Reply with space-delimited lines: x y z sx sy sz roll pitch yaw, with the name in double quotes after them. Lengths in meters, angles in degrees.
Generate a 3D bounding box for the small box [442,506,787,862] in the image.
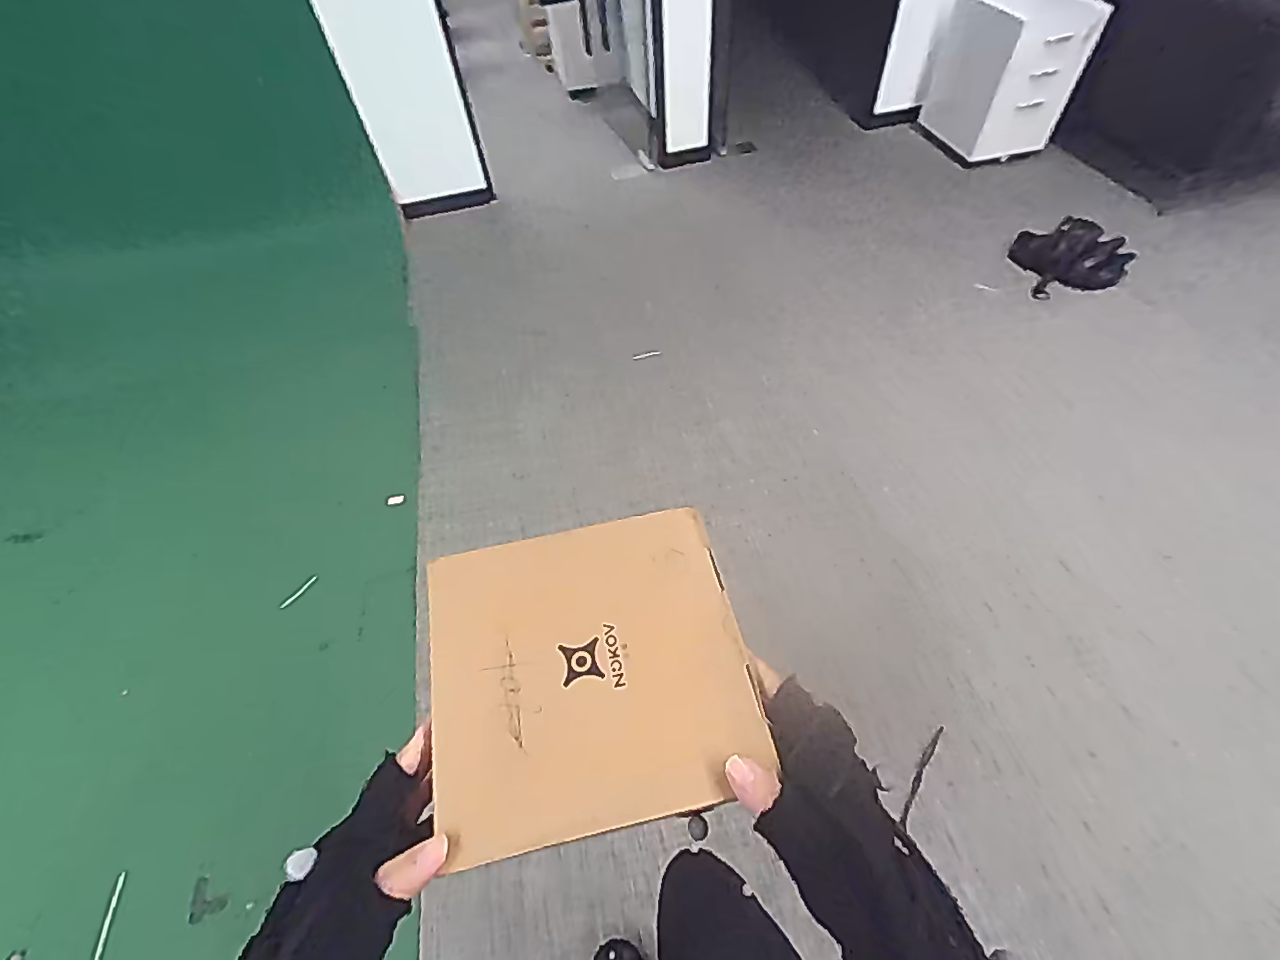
-0.022 0.143 0.377 0.179 0.176 0.168 -13 57 -5 "small box"
